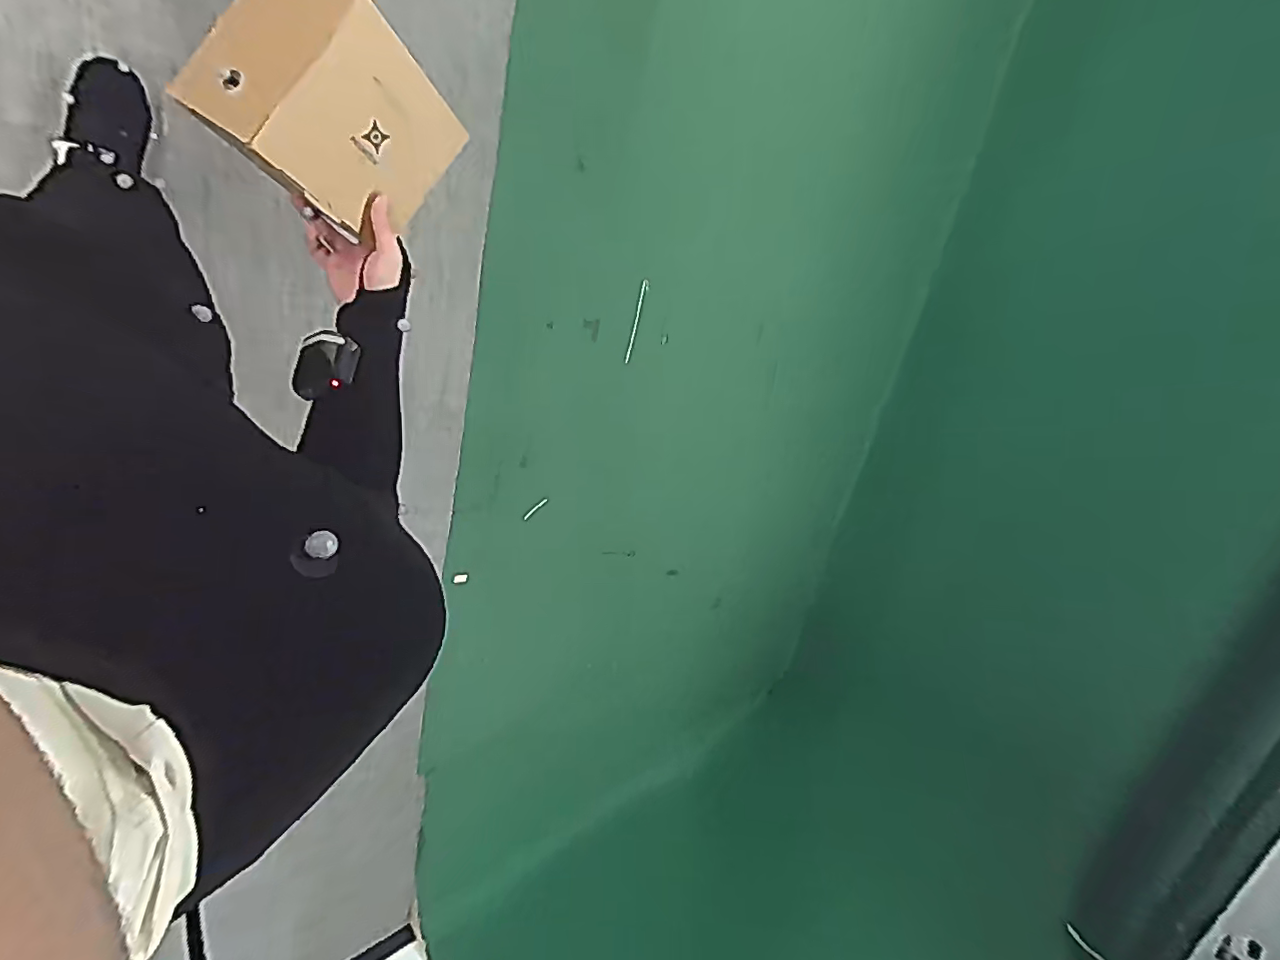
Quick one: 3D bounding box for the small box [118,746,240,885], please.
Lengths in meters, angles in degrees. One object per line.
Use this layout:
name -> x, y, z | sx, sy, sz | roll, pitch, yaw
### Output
small box -> -1.023, 0.727, 1.198 | 0.179, 0.176, 0.168 | 7, 107, -48

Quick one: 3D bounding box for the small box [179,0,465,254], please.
small box -> -0.332, -0.386, 0.571 | 0.179, 0.176, 0.168 | -54, 159, -1
